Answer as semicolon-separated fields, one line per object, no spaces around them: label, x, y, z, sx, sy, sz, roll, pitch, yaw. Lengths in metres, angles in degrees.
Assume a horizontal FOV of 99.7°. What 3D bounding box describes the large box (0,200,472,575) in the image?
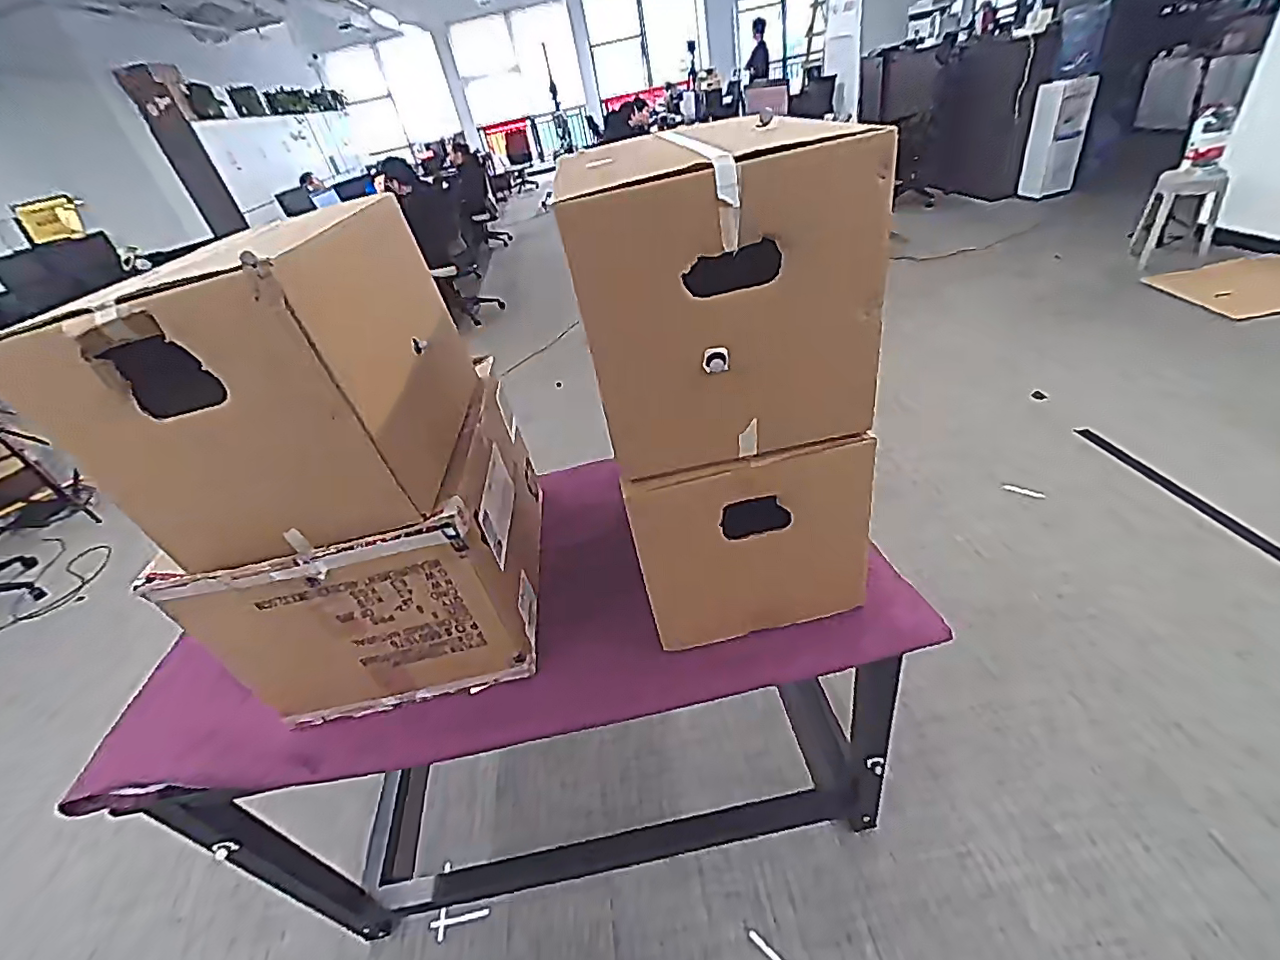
large box;-0.453;-0.145;0.736;0.320;0.320;0.408;-16;36;4
